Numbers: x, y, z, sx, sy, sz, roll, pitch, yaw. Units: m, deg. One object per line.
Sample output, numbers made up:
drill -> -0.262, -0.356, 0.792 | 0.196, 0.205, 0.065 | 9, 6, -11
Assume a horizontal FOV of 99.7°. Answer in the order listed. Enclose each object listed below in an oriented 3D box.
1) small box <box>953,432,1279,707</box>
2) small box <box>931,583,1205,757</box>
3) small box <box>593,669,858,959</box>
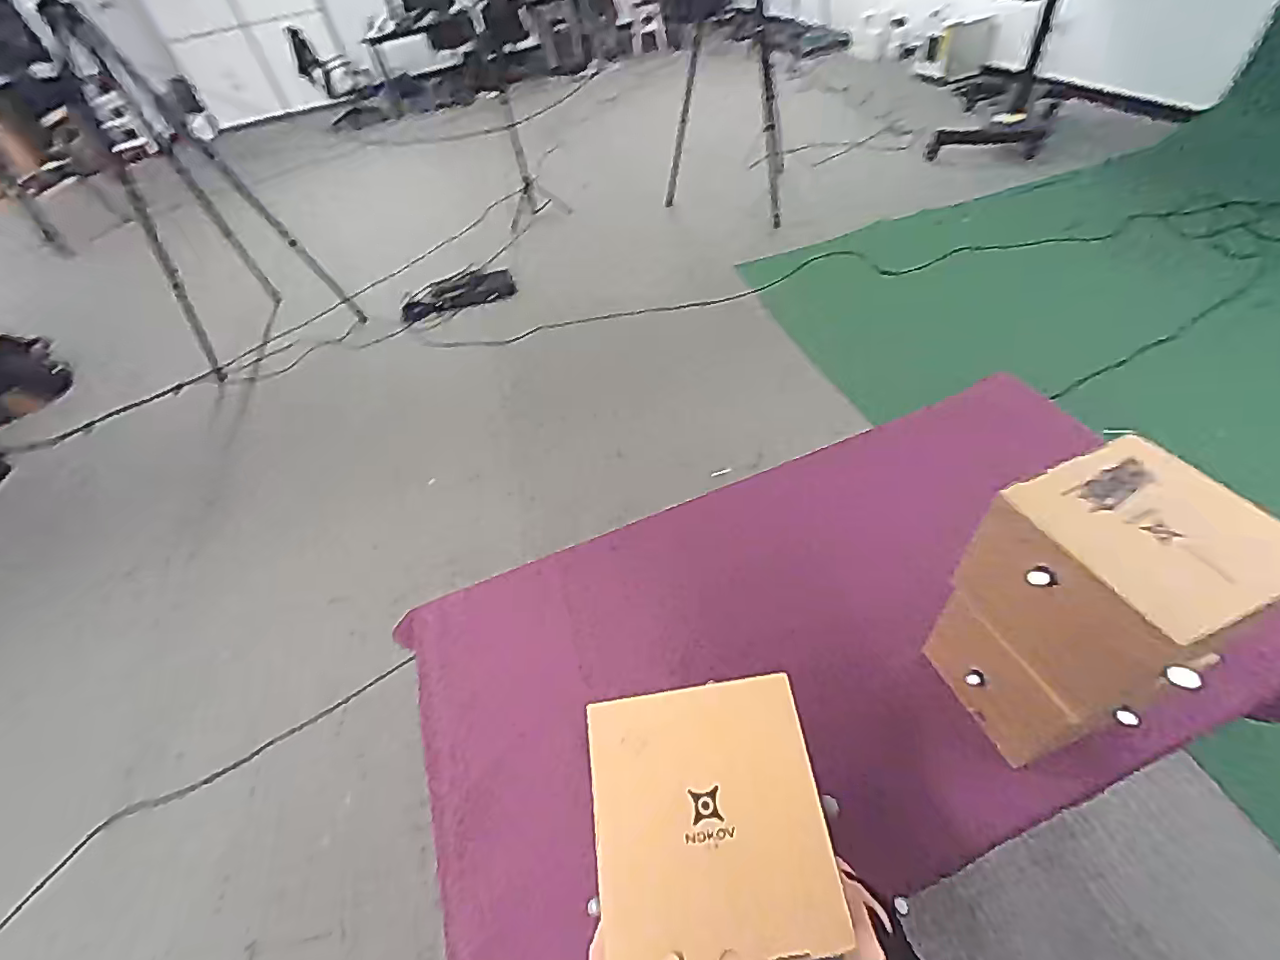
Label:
small box -> 0.452, 0.088, 0.534 | 0.168, 0.176, 0.179 | -22, 49, -8
small box -> 0.481, 0.203, 0.648 | 0.179, 0.176, 0.168 | -20, 48, -7
small box -> 0.059, 0.275, 0.458 | 0.168, 0.176, 0.179 | -10, 60, 3
